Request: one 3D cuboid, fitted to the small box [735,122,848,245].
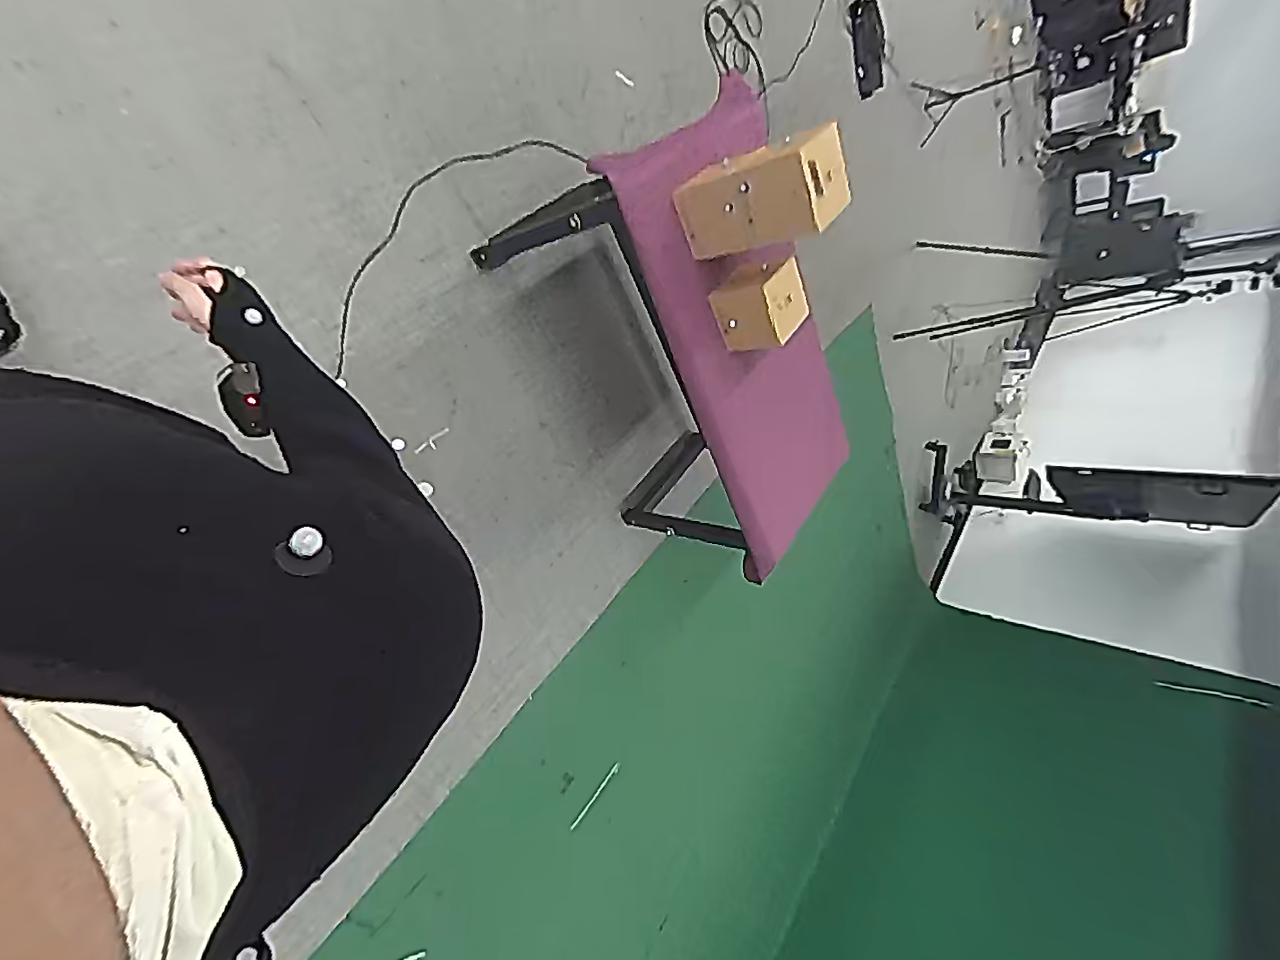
[{"bbox_3d":[0.324,-0.635,1.174,0.179,0.176,0.168,-49,128,-30],"label":"small box"}]

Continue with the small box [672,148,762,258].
[{"bbox_3d":[0.206,-0.654,1.288,0.179,0.176,0.168,-49,127,-30],"label":"small box"}]

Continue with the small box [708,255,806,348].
[{"bbox_3d":[0.307,-0.464,1.419,0.179,0.176,0.168,-49,126,-29],"label":"small box"}]
